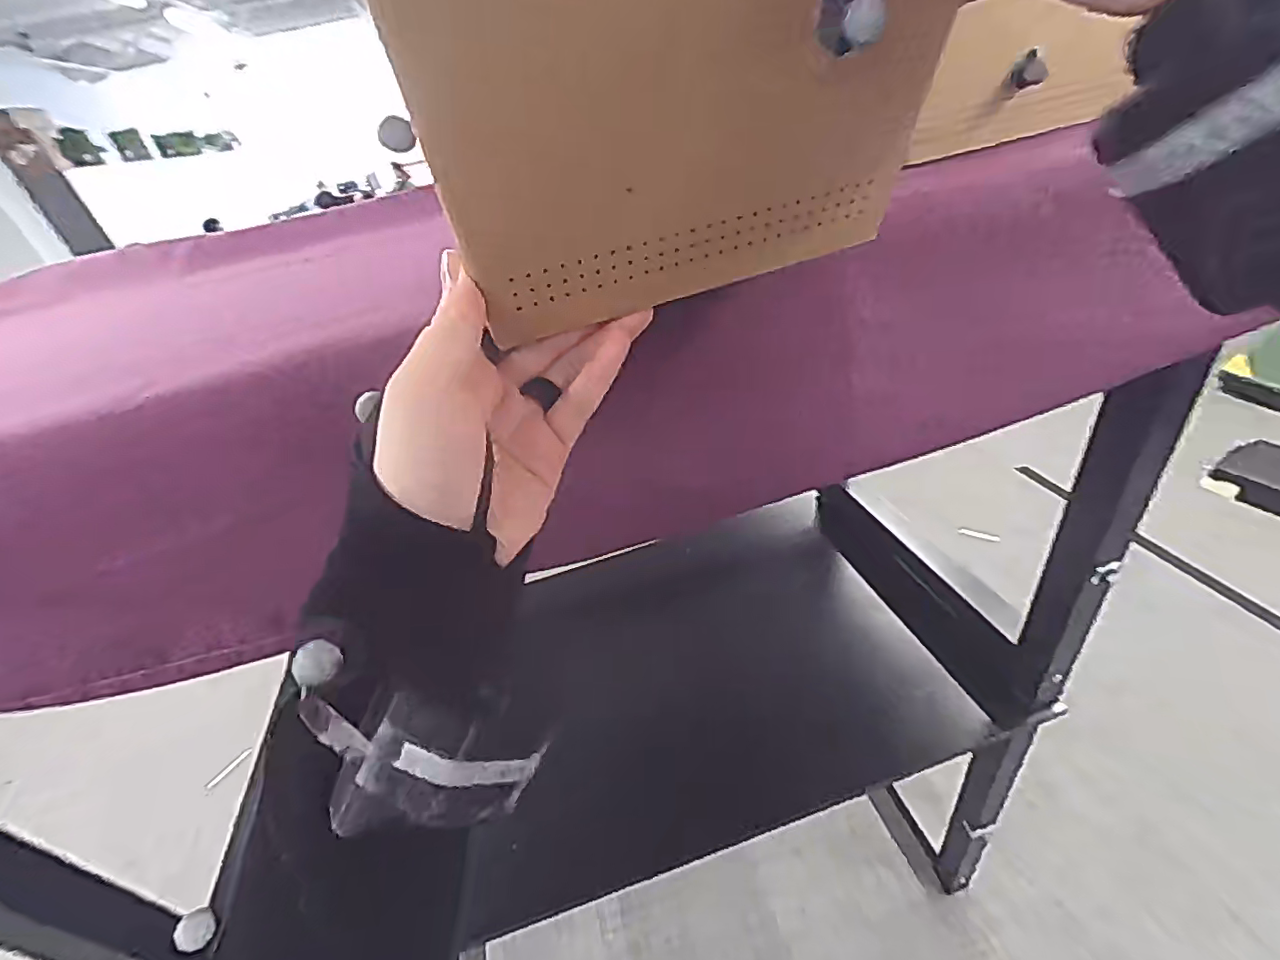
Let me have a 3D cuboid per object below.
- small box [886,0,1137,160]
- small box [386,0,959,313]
[{"bbox_3d":[0.227,-0.352,0.396,0.179,0.176,0.168,-15,34,-3],"label":"small box"},{"bbox_3d":[-0.002,-0.192,0.192,0.179,0.176,0.168,-19,60,-8],"label":"small box"}]
